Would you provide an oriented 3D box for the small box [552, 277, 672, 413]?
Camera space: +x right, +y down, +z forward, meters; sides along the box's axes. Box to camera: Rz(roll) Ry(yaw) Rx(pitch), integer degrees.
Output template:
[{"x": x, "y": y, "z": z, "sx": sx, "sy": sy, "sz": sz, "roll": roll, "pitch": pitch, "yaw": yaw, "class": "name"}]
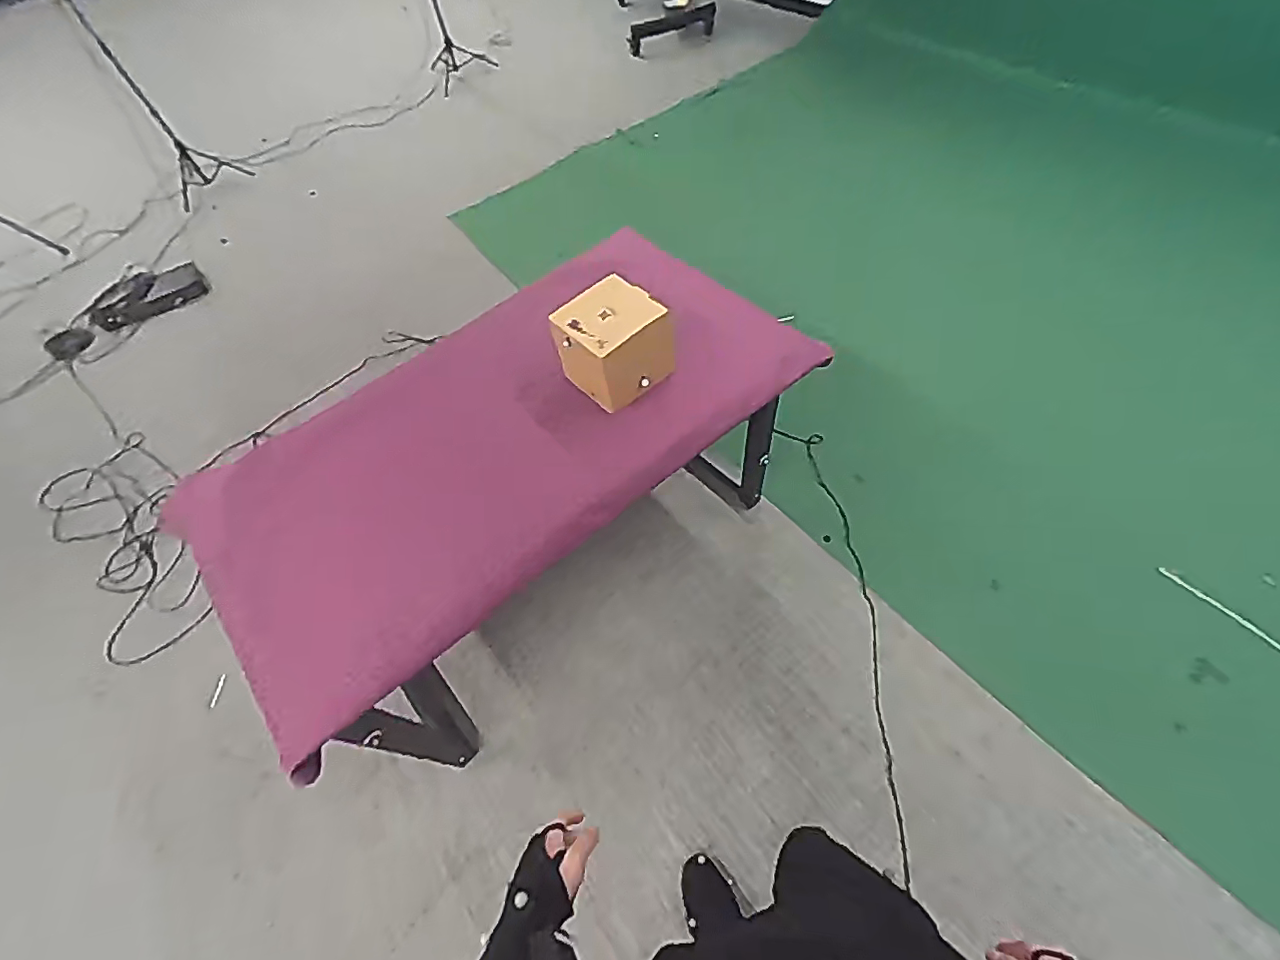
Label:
[{"x": -0.051, "y": -0.274, "z": 1.110, "sx": 0.179, "sy": 0.176, "sz": 0.168, "roll": -39, "pitch": 61, "yaw": -17, "class": "small box"}]
